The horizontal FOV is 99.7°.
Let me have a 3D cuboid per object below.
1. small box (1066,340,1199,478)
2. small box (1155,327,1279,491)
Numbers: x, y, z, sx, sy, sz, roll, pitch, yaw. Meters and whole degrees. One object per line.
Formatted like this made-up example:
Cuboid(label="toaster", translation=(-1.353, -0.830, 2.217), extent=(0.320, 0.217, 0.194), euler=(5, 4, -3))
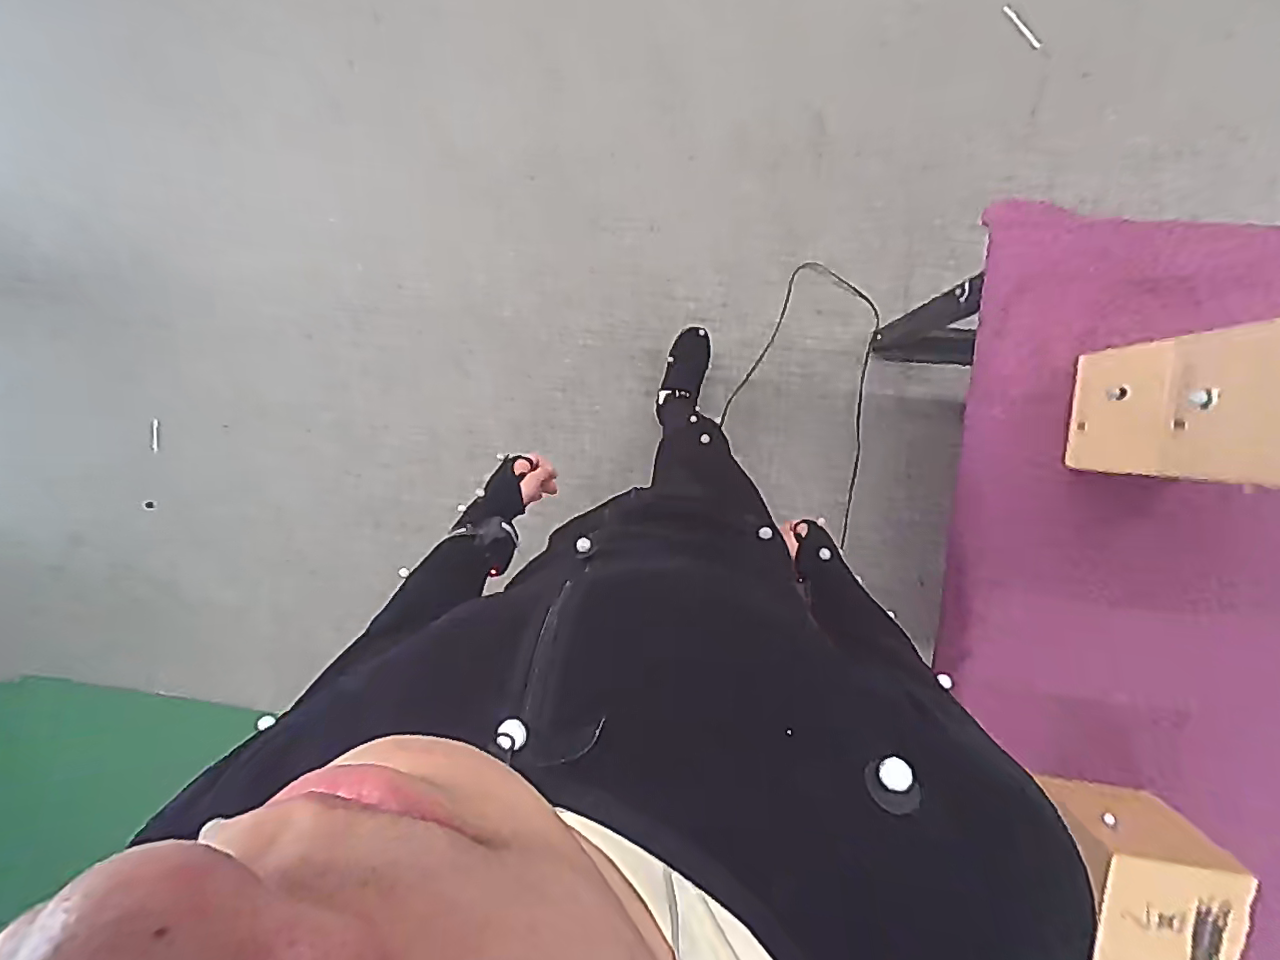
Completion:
Cuboid(label="small box", translation=(0.718, -0.085, 0.721), extent=(0.179, 0.176, 0.168), euler=(4, 95, 4))
Cuboid(label="small box", translation=(0.705, -0.070, 0.558), extent=(0.179, 0.176, 0.168), euler=(4, 95, 5))
